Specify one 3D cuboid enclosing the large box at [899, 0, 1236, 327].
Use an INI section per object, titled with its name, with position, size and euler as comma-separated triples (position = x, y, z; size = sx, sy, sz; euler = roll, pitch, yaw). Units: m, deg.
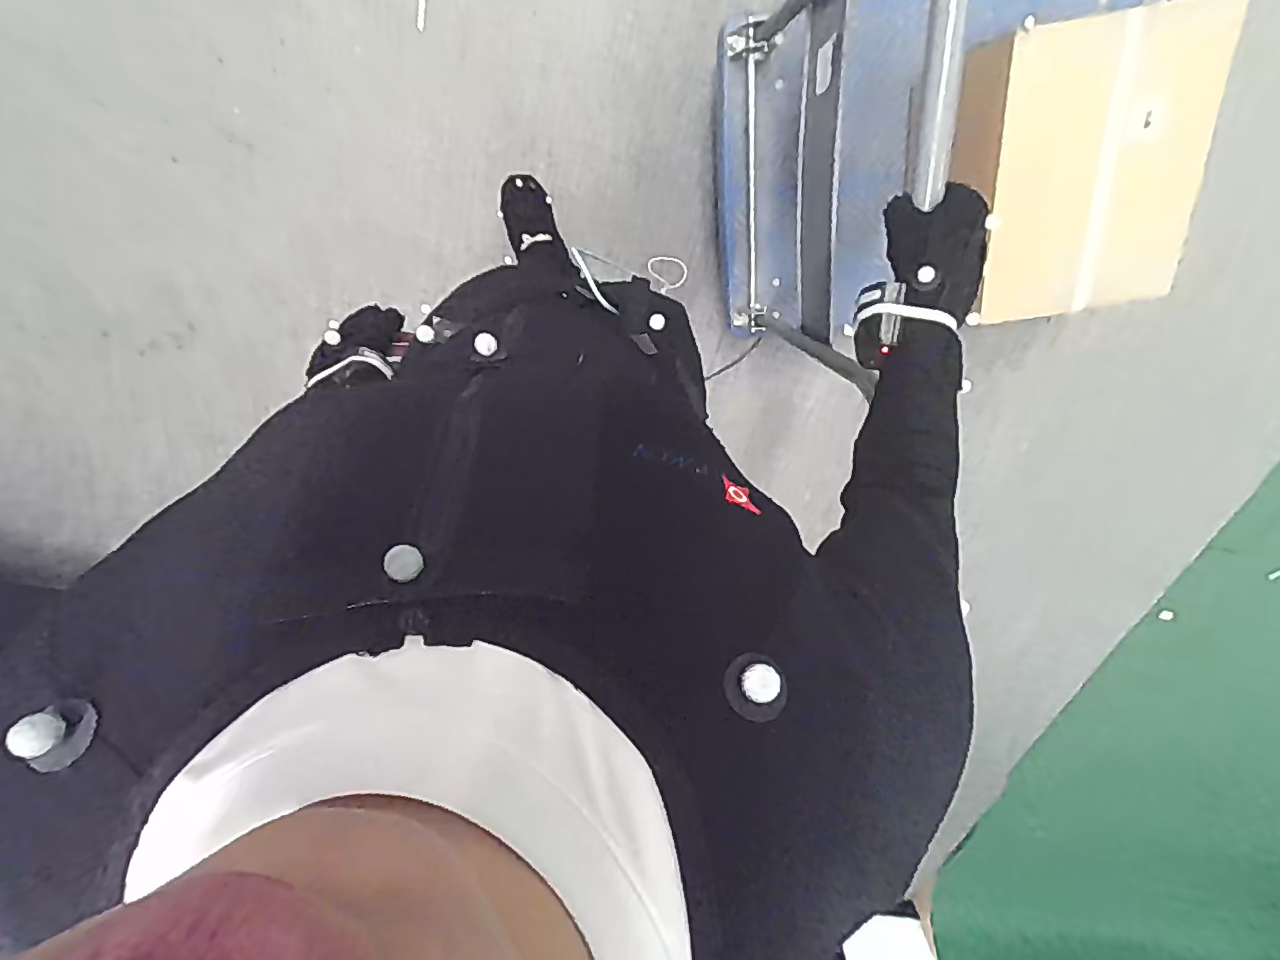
[large box]
position = 0.686, -0.519, 0.957
size = 0.320, 0.320, 0.408
euler = -8, 116, 2
